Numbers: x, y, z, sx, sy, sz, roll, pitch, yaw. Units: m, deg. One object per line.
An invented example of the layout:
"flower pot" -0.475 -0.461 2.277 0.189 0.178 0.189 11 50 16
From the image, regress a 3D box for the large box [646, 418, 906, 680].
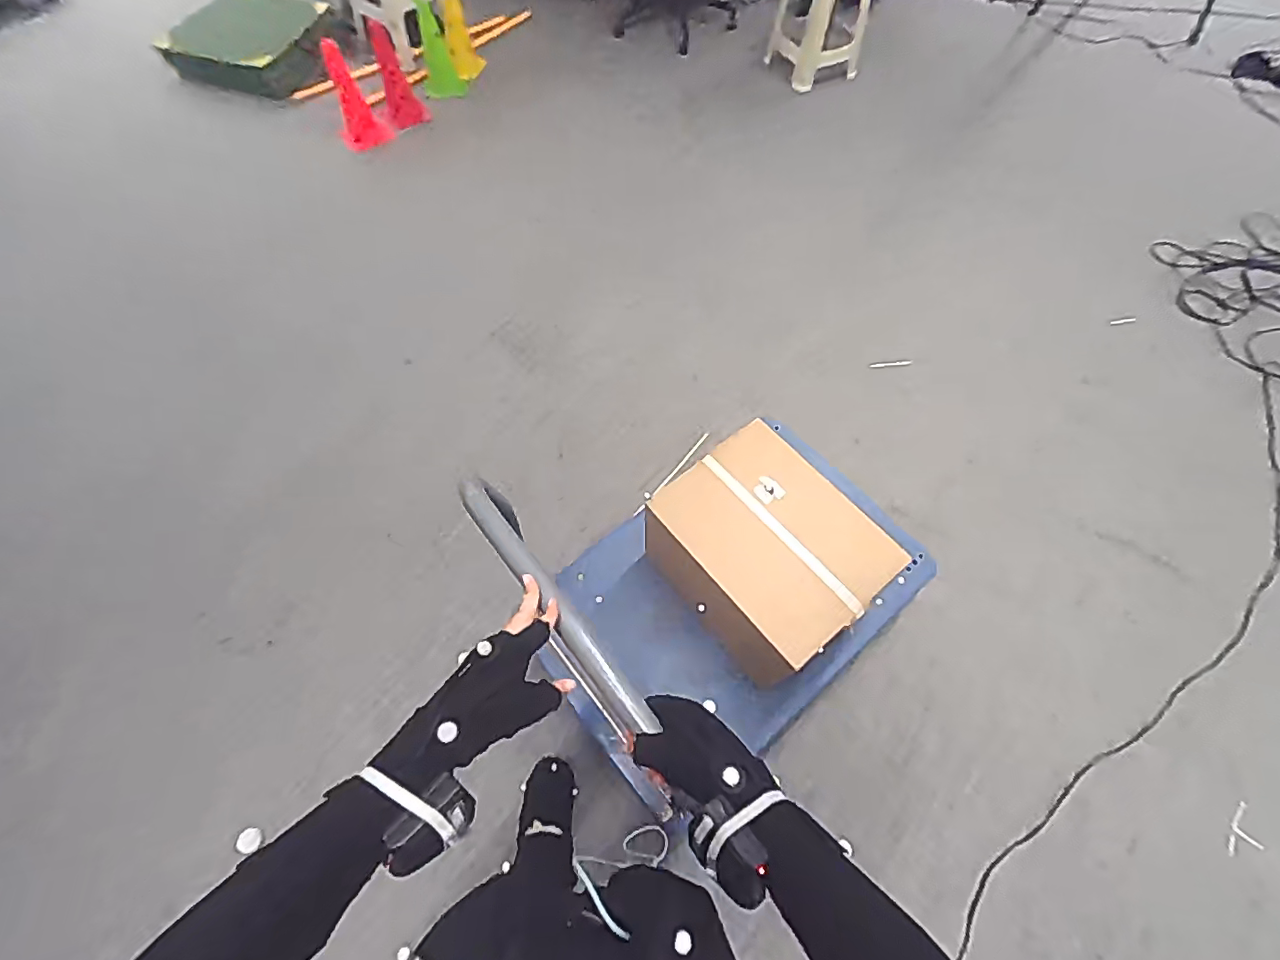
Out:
"large box" 0.259 0.155 1.161 0.320 0.320 0.408 -36 67 -17
